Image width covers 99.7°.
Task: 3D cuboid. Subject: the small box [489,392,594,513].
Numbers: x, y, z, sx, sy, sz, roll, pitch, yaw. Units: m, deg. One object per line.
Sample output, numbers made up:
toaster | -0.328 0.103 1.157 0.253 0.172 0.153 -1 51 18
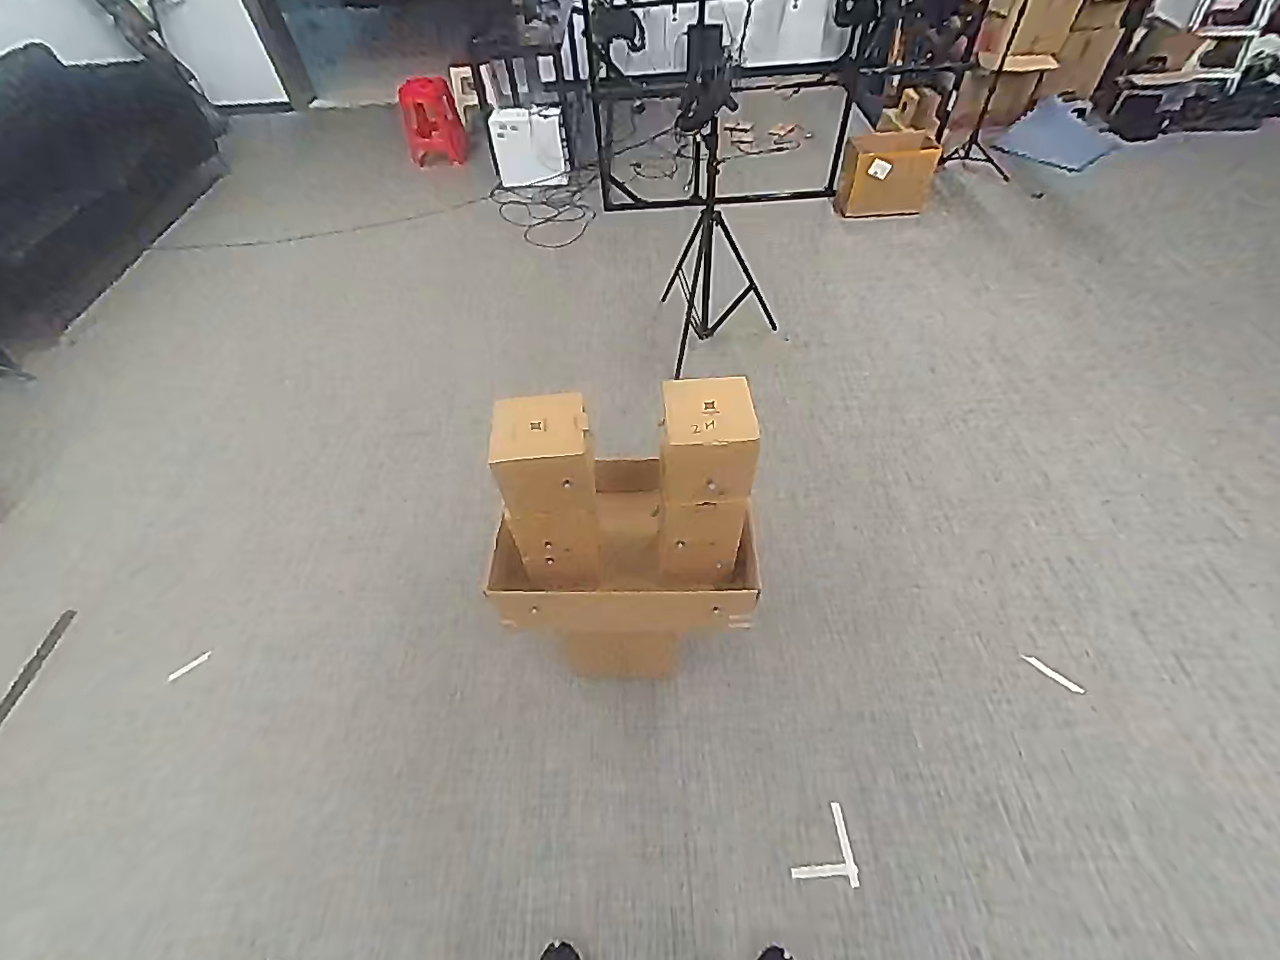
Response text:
small box | -0.182 -0.051 1.060 0.179 0.176 0.168 -5 52 -1

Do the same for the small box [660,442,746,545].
small box | 0.132 0.031 1.181 0.168 0.176 0.179 -3 51 0

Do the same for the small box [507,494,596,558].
small box | -0.188 0.050 1.190 0.168 0.176 0.179 -6 53 -1

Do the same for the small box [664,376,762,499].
small box | 0.134 -0.081 1.060 0.168 0.176 0.179 -4 52 0

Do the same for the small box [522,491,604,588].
small box | -0.182 0.146 1.320 0.168 0.176 0.179 -4 51 2
